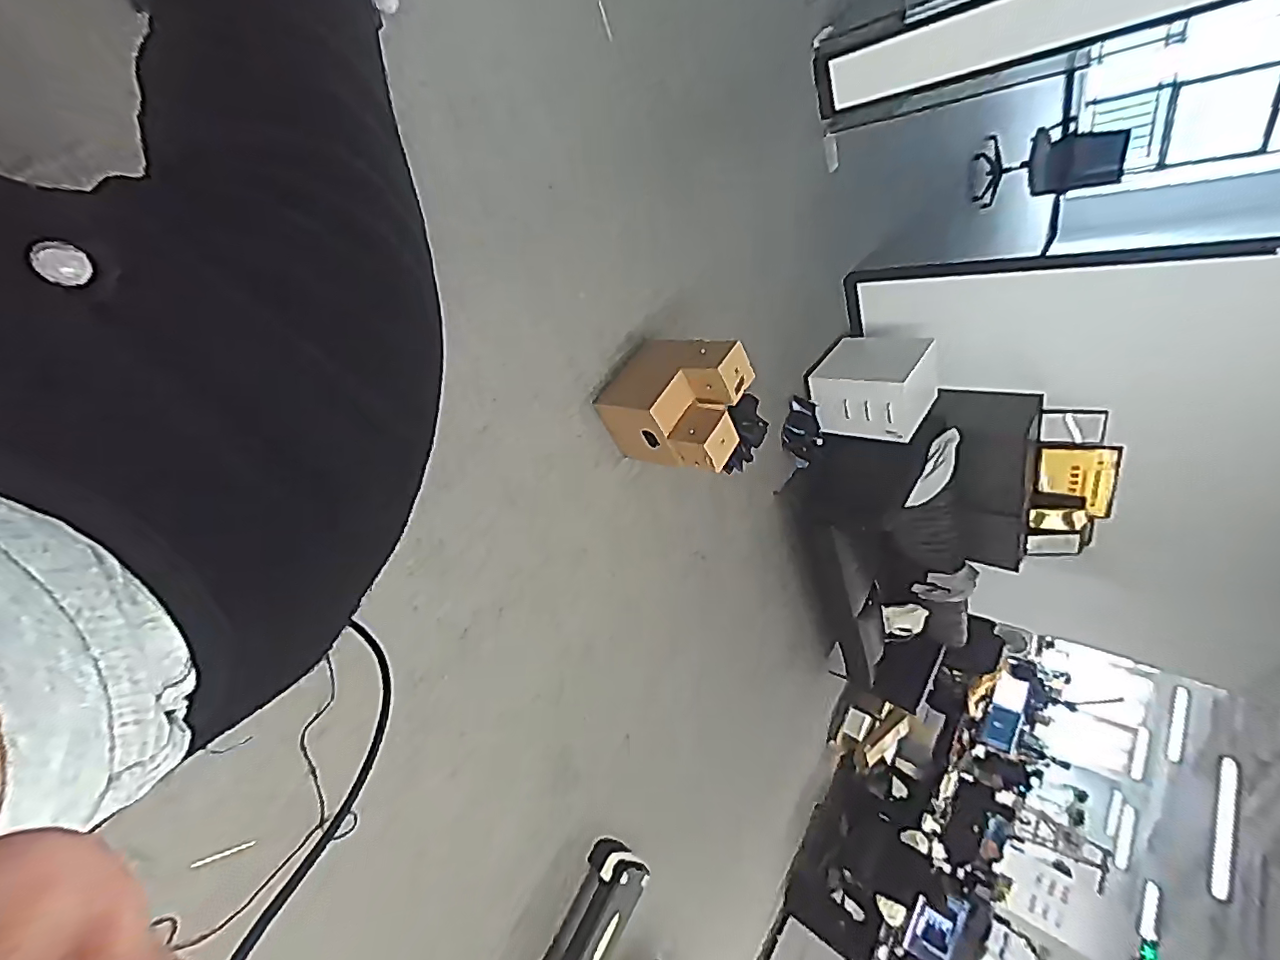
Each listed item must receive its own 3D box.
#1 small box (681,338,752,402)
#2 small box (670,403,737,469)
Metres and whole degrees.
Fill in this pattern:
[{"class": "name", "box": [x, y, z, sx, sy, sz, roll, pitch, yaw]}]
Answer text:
[{"class": "small box", "box": [0.286, -0.412, 2.016, 0.168, 0.176, 0.179, -53, 130, -24]}, {"class": "small box", "box": [0.230, -0.167, 2.020, 0.179, 0.176, 0.168, -57, 138, -22]}]
